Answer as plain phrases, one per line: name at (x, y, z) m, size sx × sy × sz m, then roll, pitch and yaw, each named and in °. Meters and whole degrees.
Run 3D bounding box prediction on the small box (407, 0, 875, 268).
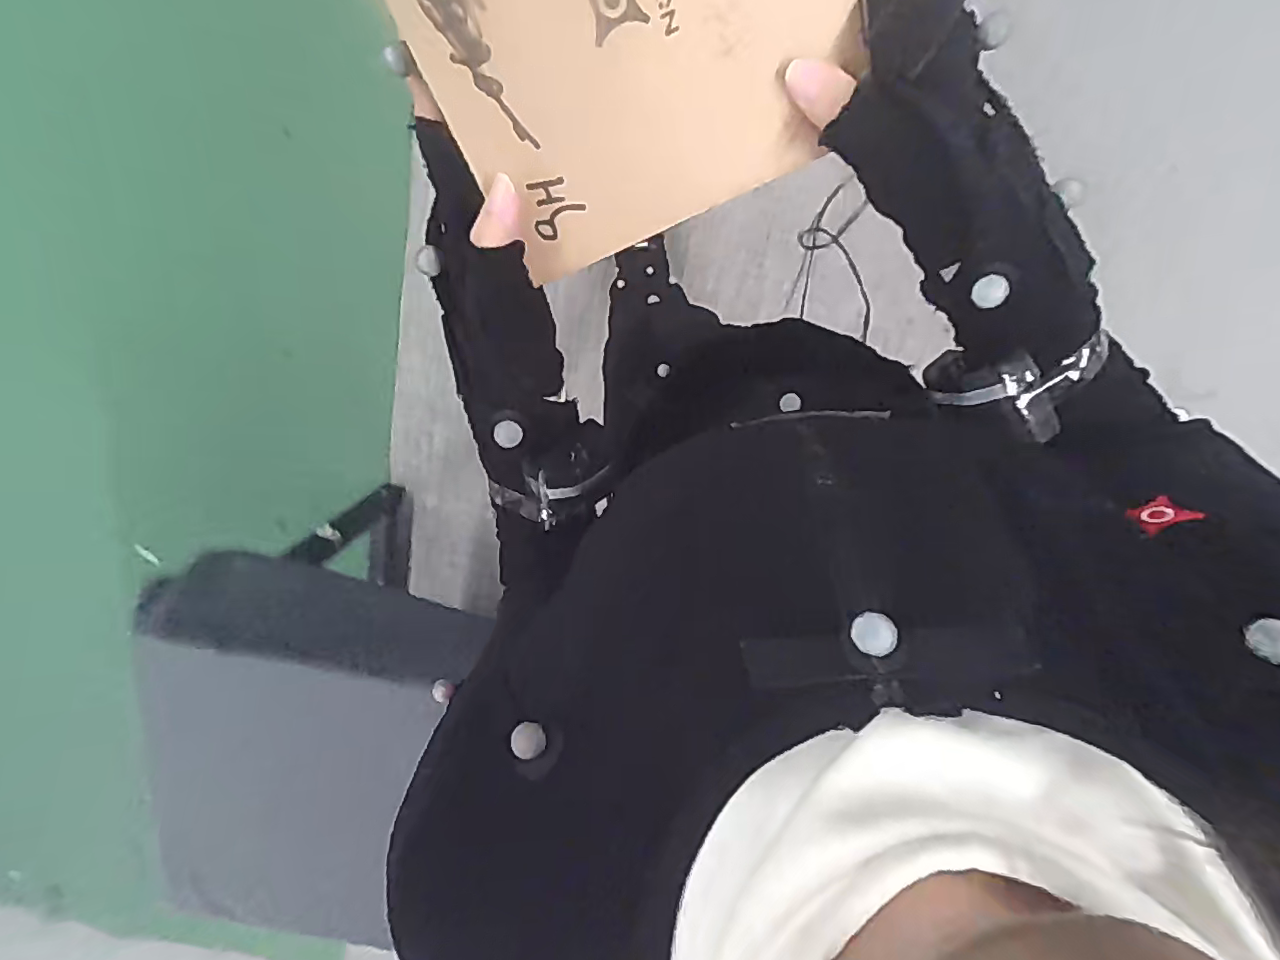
small box at (-0.011, -0.236, 0.275) m, size 0.179 × 0.176 × 0.168 m, roll -21°, pitch 122°, yaw 5°
